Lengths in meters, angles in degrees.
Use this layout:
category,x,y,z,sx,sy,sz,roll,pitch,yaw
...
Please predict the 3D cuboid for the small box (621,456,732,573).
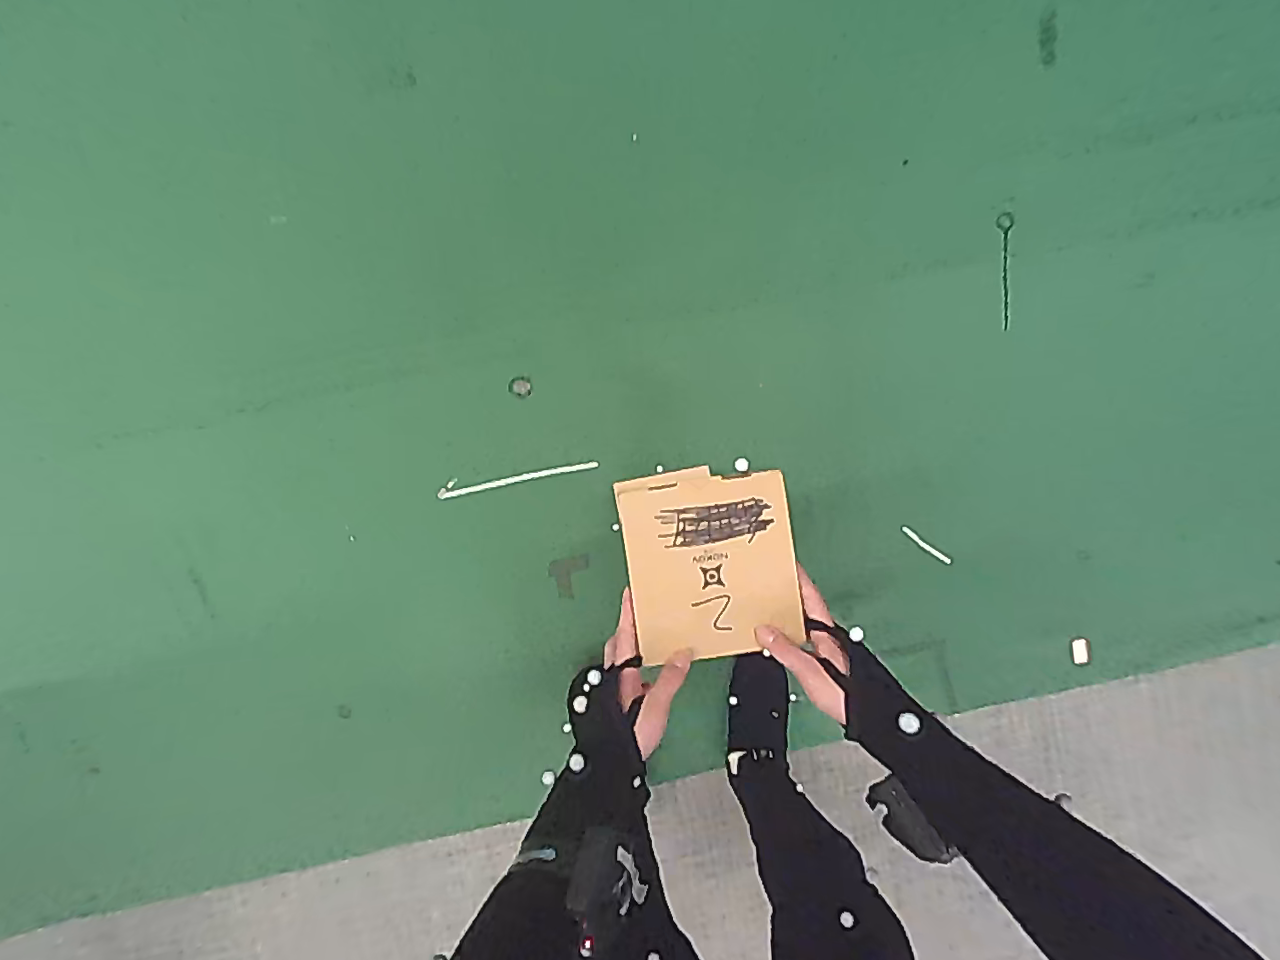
category,x,y,z,sx,sy,sz,roll,pitch,yaw
small box,0.059,0.058,0.986,0.168,0.176,0.179,-11,91,0
